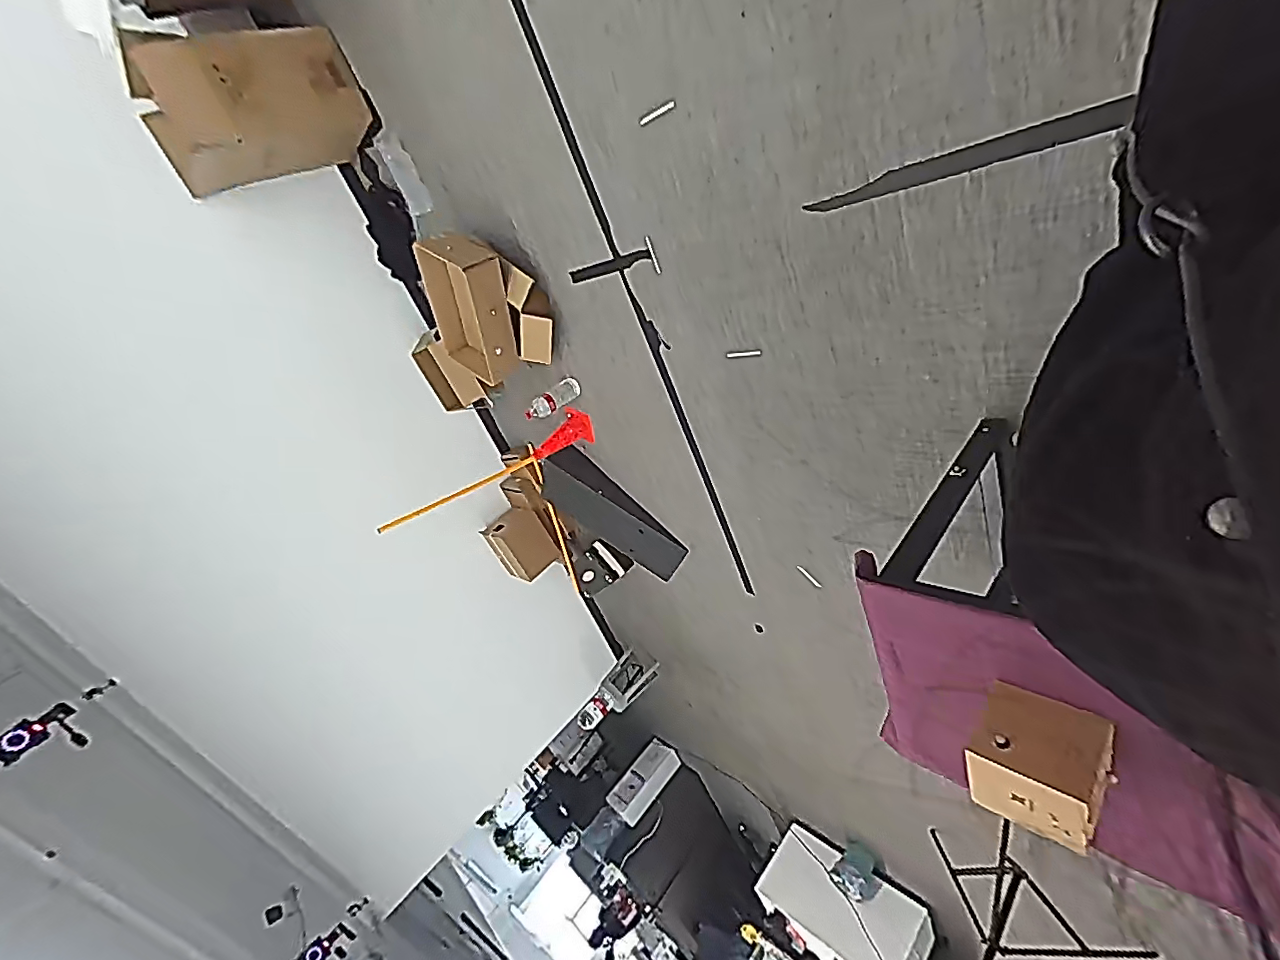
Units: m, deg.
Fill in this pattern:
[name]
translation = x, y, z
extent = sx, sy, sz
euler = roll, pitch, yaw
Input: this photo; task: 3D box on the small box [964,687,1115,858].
[small box]
translation = 0.703, 0.500, 0.954
extent = 0.179, 0.176, 0.168
euler = 10, 133, 47
